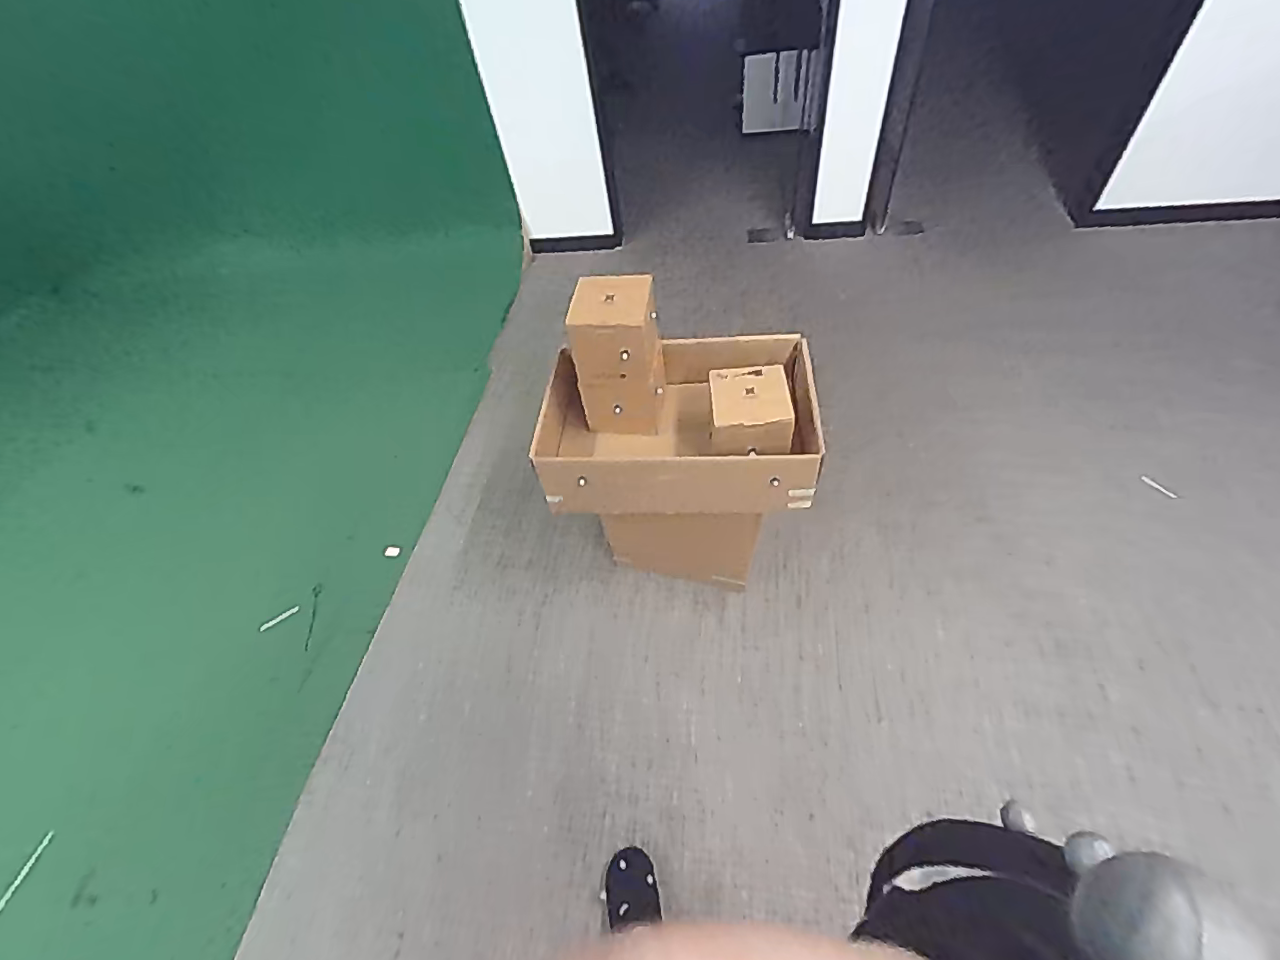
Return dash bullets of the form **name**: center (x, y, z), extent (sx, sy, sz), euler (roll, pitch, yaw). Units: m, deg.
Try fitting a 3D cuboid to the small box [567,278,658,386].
- **small box**: center (-0.052, -0.327, 1.209), extent (0.168, 0.176, 0.179), euler (2, 52, 9)
